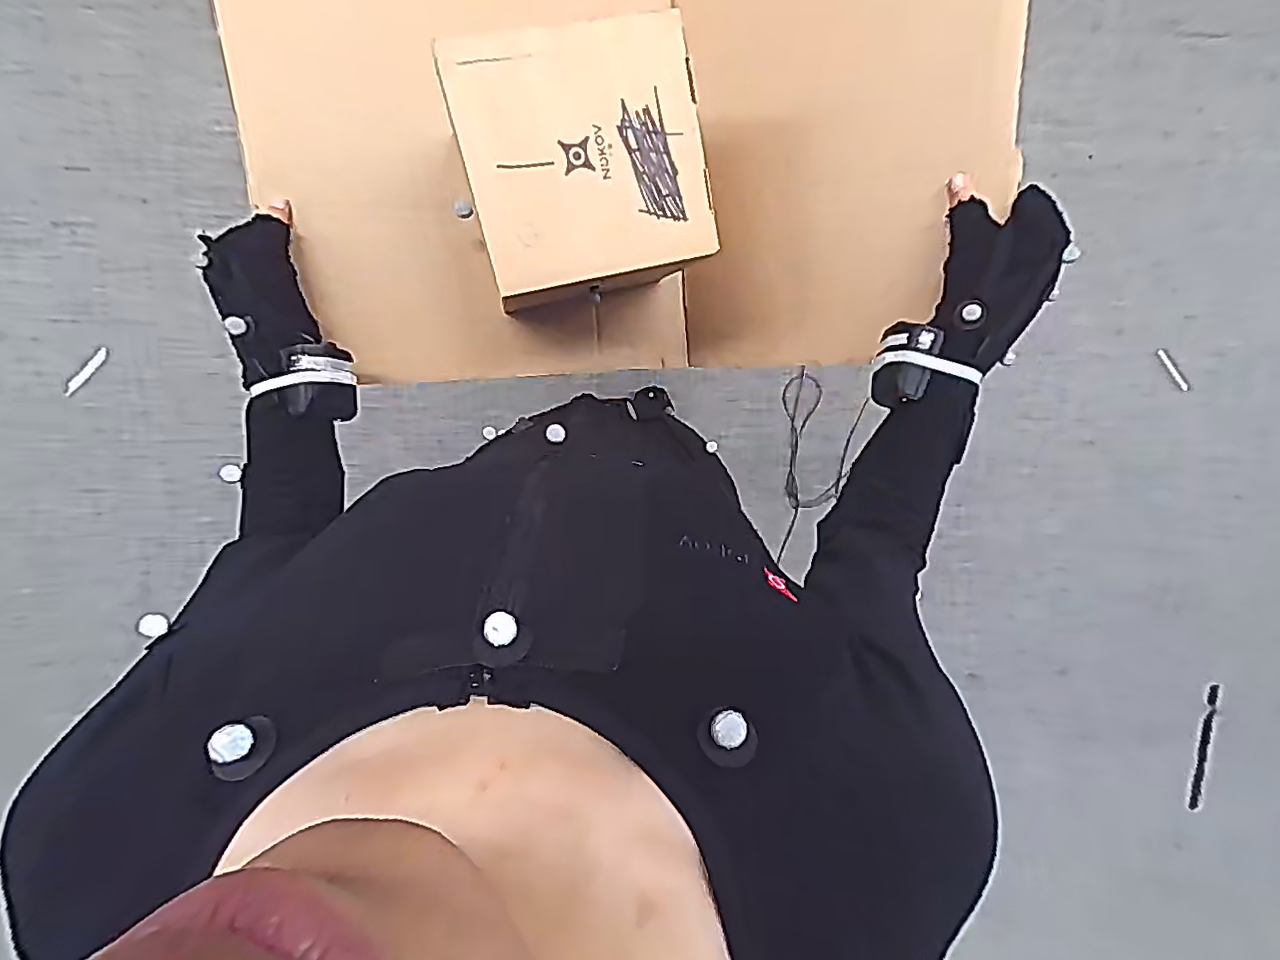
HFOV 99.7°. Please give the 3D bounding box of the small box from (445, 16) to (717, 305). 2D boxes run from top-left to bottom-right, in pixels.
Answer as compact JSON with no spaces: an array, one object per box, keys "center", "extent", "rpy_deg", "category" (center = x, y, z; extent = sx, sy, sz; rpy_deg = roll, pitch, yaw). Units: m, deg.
[{"center":[-0.053,-0.257,0.474],"extent":[0.179,0.176,0.168],"rpy_deg":[-15,106,-9],"category":"small box"}]
